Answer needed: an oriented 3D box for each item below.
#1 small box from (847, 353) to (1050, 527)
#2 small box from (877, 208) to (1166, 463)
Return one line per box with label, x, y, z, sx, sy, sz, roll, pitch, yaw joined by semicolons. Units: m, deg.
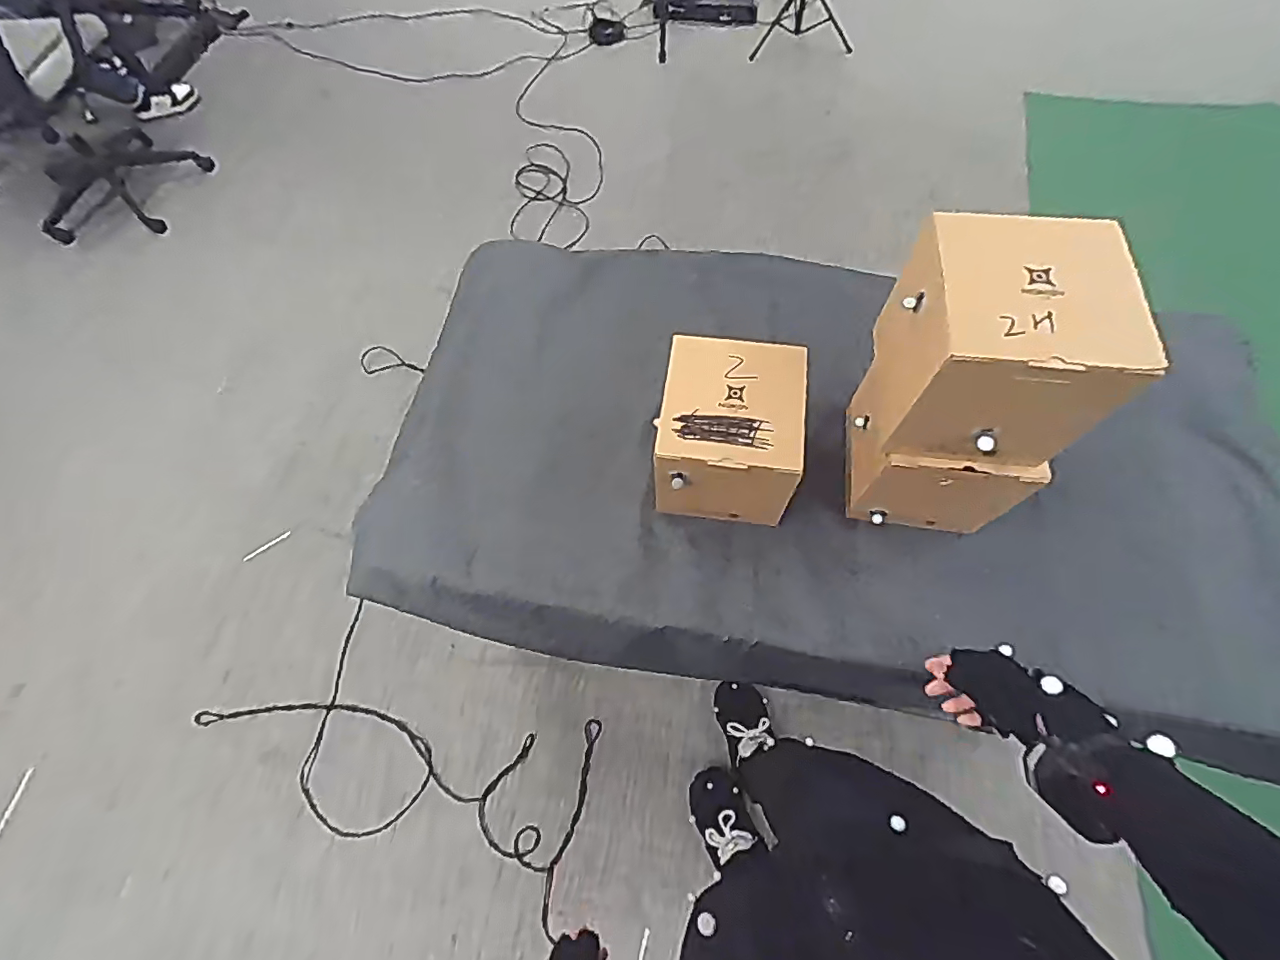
small box;0.368;-0.053;0.680;0.168;0.176;0.179;7;66;7
small box;0.348;-0.136;0.539;0.168;0.176;0.179;6;66;7
